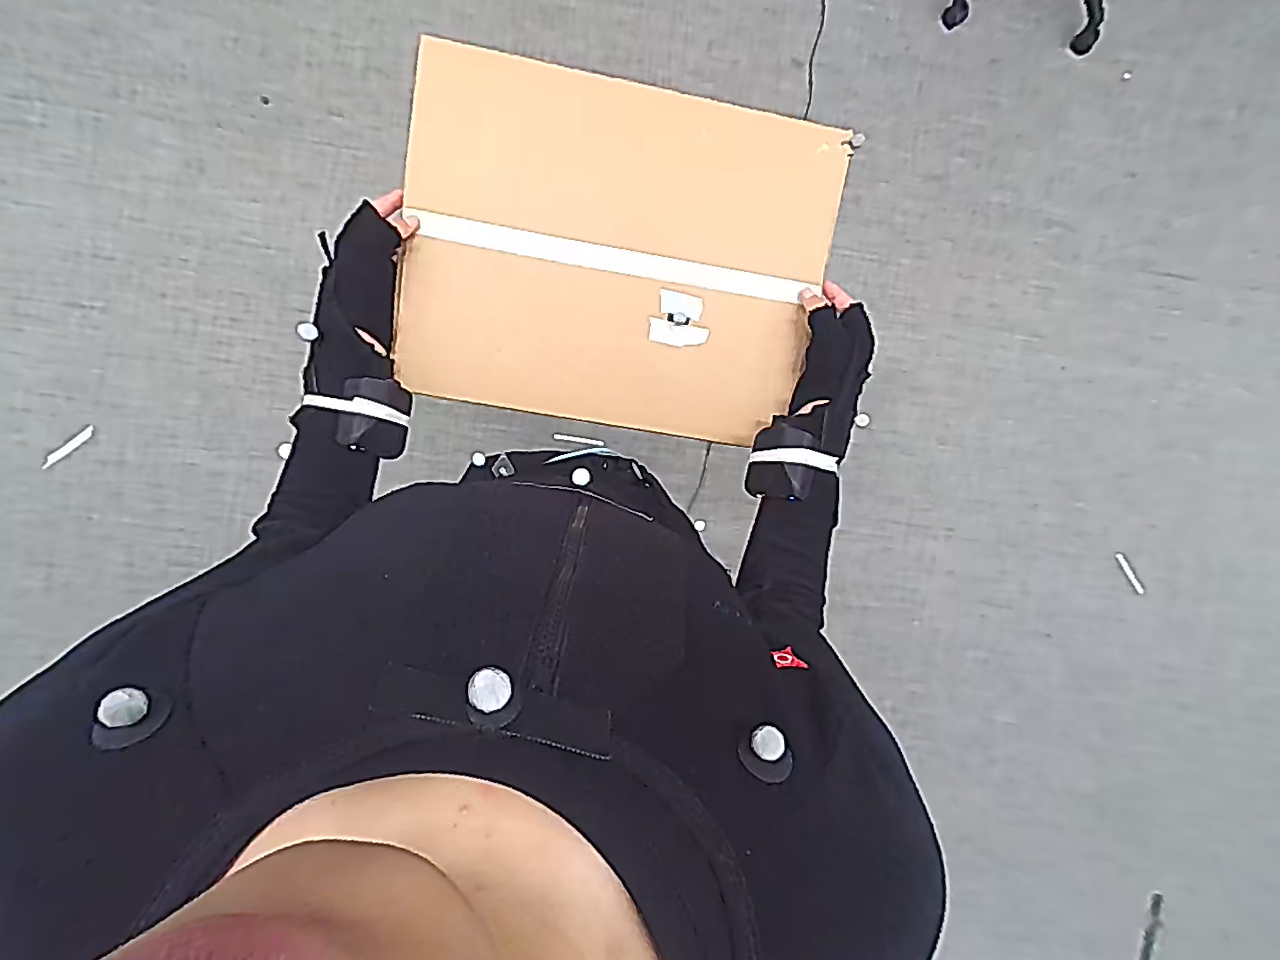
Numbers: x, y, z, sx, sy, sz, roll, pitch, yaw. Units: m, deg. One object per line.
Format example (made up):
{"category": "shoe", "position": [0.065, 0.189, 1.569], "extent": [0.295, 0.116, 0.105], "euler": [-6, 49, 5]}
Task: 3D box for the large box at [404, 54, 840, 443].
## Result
{"category": "large box", "position": [-0.033, -0.239, 0.682], "extent": [0.408, 0.320, 0.320], "euler": [9, 99, -6]}
